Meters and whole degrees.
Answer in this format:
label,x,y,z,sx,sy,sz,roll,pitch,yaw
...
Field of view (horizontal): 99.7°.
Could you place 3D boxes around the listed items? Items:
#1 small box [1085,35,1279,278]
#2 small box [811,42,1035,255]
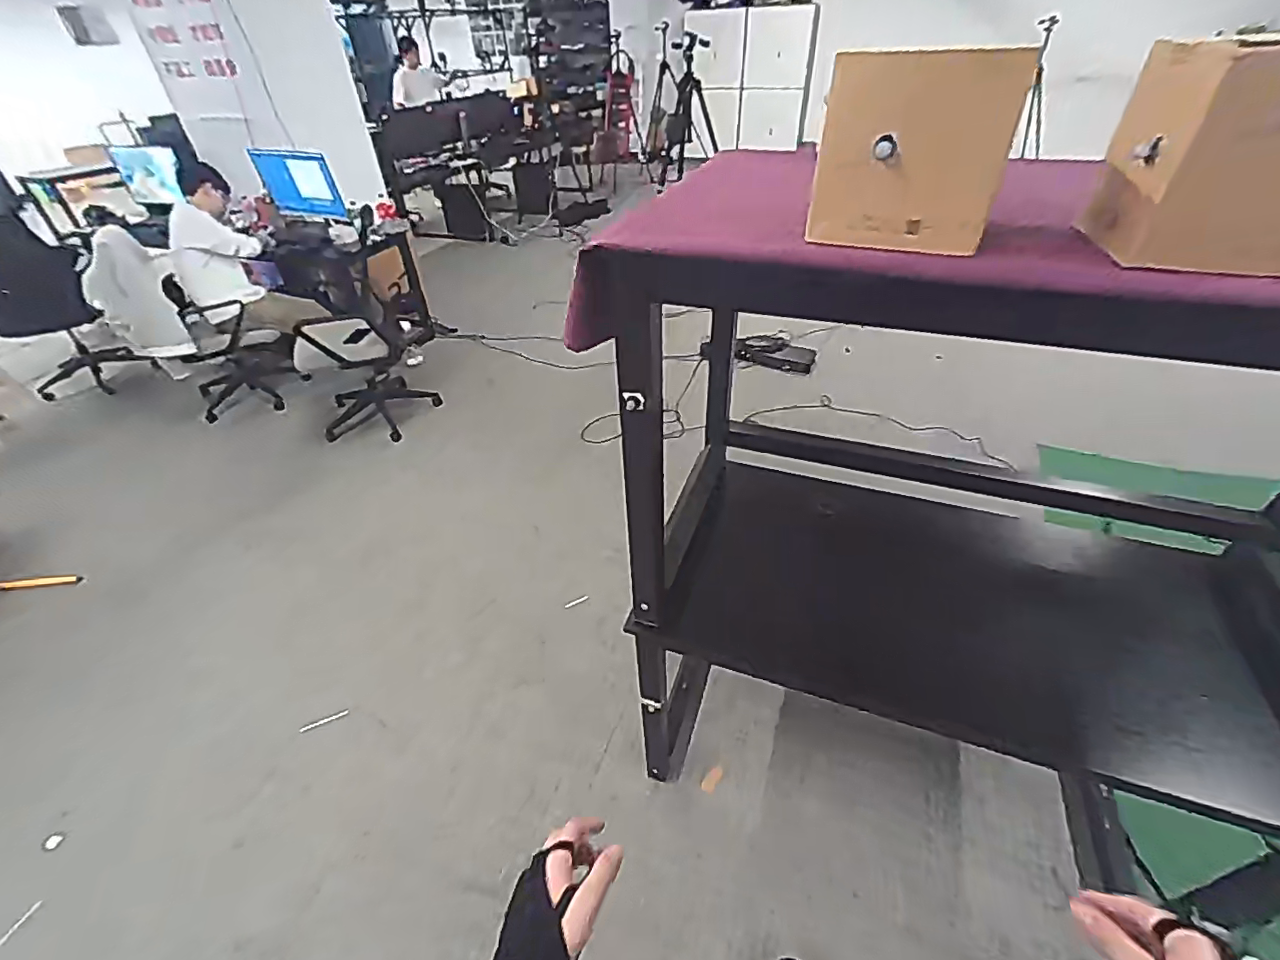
label,x,y,z,sx,sy,sz,roll,pitch,yaw
small box,0.545,-0.291,0.485,0.179,0.176,0.168,11,40,16
small box,0.286,-0.350,0.574,0.168,0.176,0.179,14,40,20
